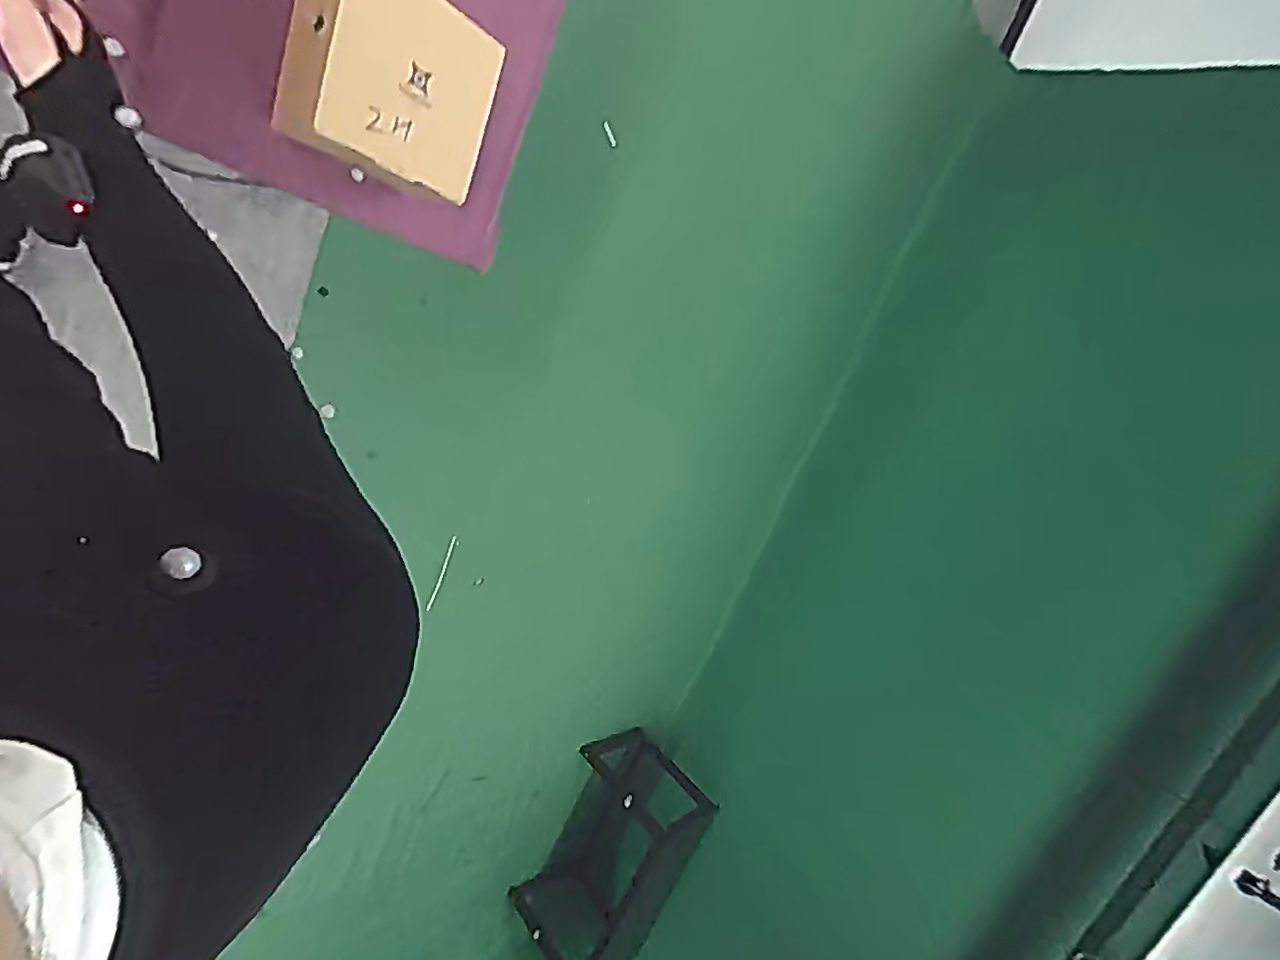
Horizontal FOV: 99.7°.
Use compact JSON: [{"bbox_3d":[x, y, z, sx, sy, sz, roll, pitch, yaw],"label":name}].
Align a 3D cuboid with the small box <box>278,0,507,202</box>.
[{"bbox_3d":[-0.284,-0.447,0.610,0.168,0.176,0.179,7,111,-48],"label":"small box"}]
